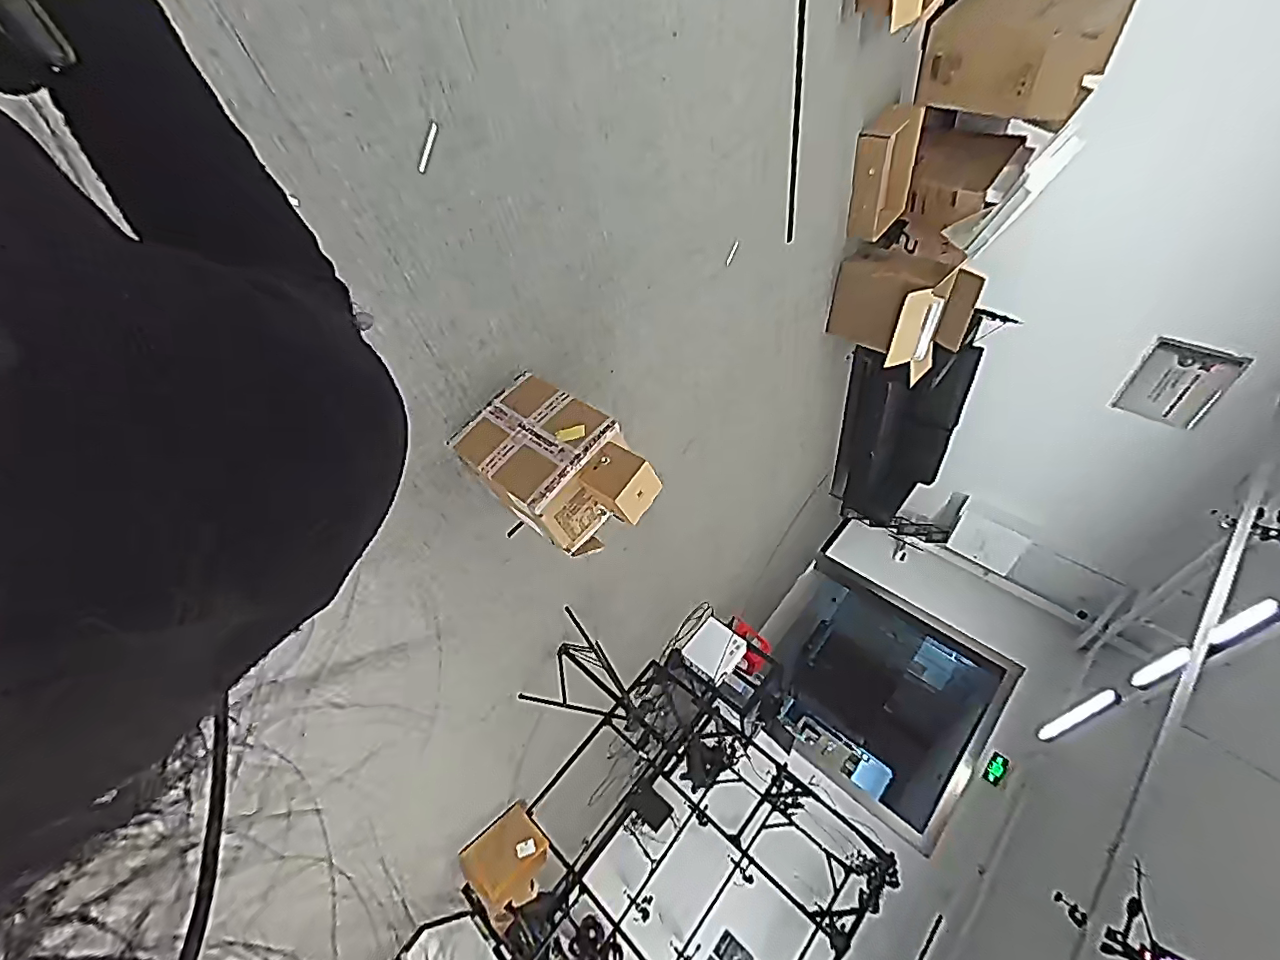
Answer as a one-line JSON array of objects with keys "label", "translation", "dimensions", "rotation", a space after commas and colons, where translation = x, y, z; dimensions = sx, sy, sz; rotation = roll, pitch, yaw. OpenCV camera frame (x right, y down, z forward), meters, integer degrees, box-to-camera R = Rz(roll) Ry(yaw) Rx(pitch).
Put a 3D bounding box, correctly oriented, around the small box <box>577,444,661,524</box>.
[{"label": "small box", "translation": [-0.067, 0.008, 1.739], "dimensions": [0.168, 0.176, 0.179], "rotation": [-53, 145, -13]}]
